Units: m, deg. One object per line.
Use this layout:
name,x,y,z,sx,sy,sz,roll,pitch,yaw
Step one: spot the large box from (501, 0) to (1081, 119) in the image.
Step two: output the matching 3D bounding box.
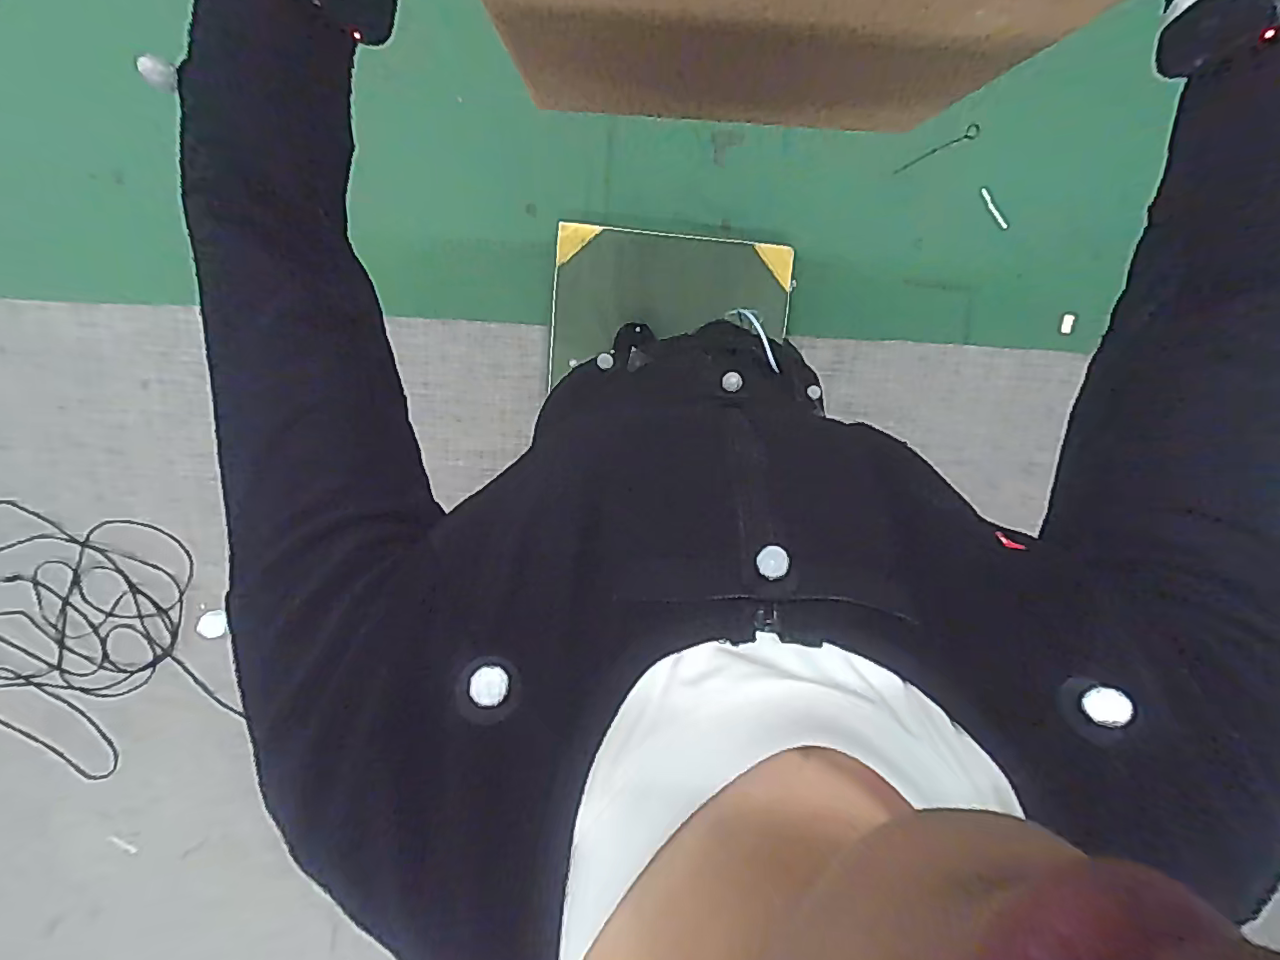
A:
large box,0.099,-0.491,0.393,0.408,0.320,0.320,2,110,-2
